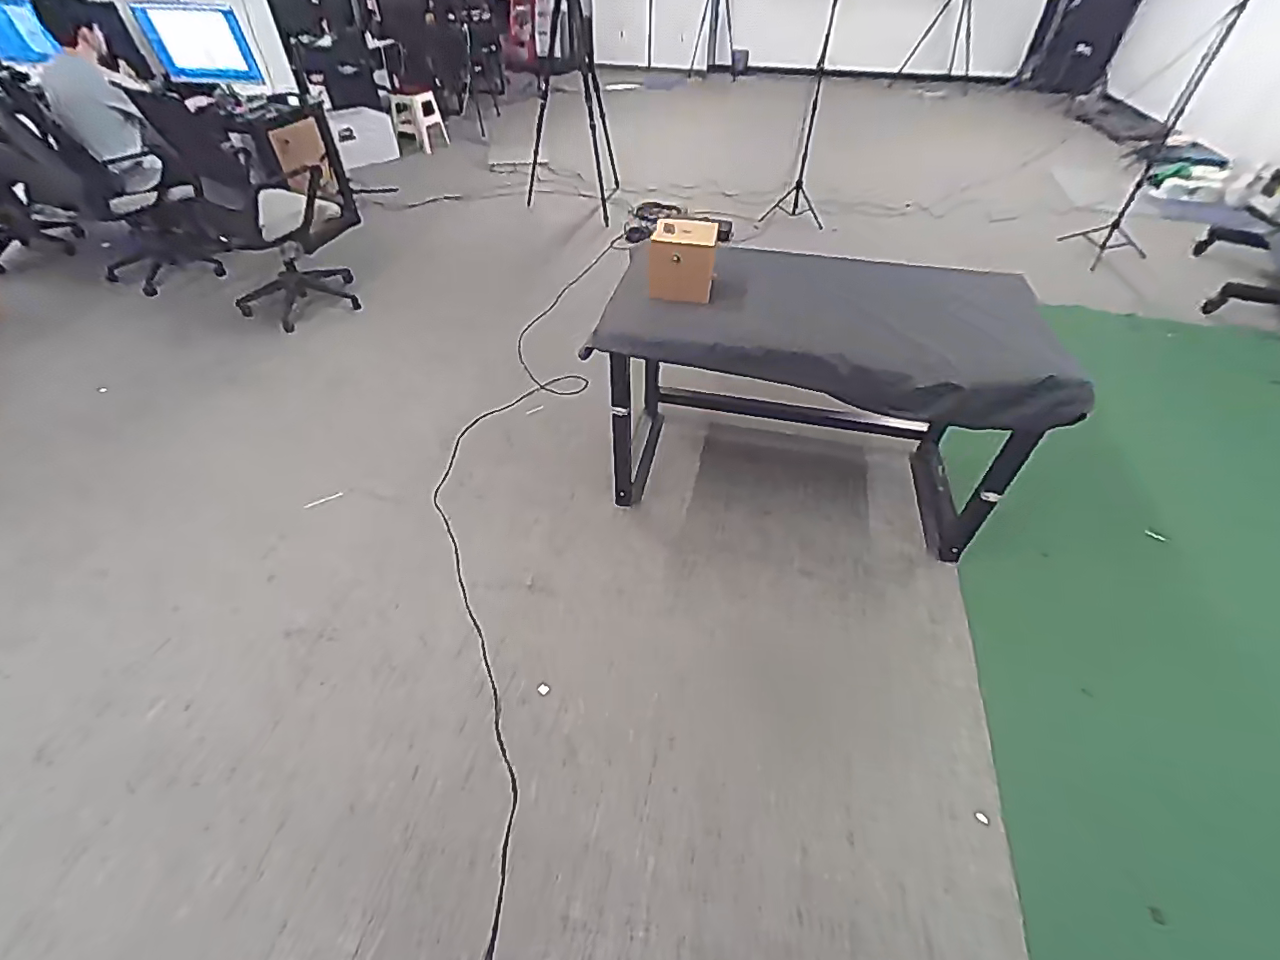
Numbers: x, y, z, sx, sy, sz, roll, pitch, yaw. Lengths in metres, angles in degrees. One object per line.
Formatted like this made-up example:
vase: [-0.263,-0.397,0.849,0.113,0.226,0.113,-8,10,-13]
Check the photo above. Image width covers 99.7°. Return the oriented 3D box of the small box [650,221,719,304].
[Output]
small box: [0.127,-0.625,1.557,0.179,0.176,0.168,8,46,6]
